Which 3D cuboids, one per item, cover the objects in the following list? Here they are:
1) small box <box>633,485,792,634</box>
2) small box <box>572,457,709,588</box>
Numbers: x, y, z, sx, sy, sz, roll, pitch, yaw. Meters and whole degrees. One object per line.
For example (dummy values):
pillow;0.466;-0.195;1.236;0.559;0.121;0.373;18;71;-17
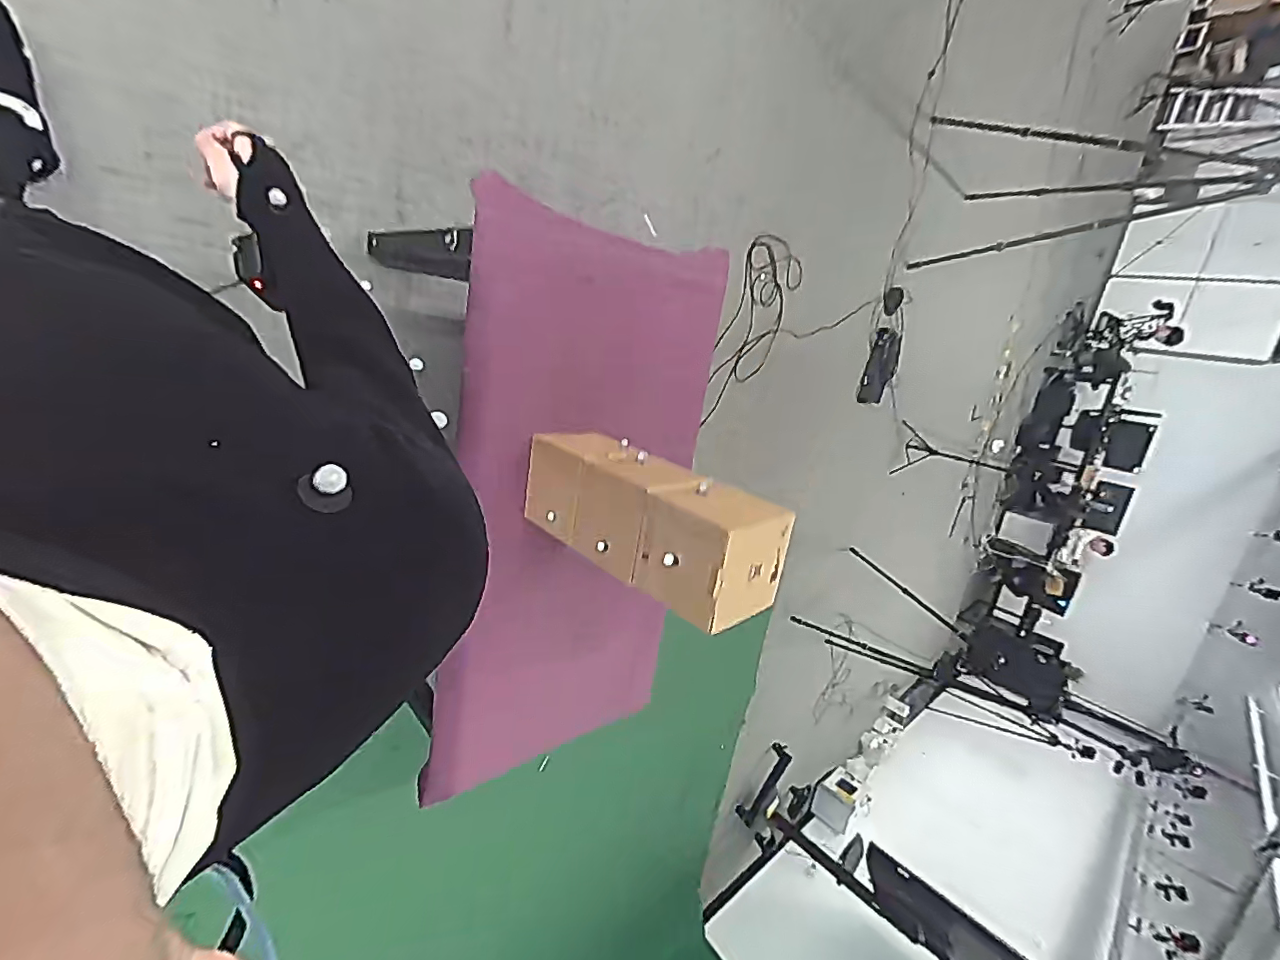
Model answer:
small box;0.111;0.115;0.867;0.179;0.176;0.168;-7;113;-43
small box;-0.004;0.066;0.972;0.168;0.176;0.179;-5;111;-44
